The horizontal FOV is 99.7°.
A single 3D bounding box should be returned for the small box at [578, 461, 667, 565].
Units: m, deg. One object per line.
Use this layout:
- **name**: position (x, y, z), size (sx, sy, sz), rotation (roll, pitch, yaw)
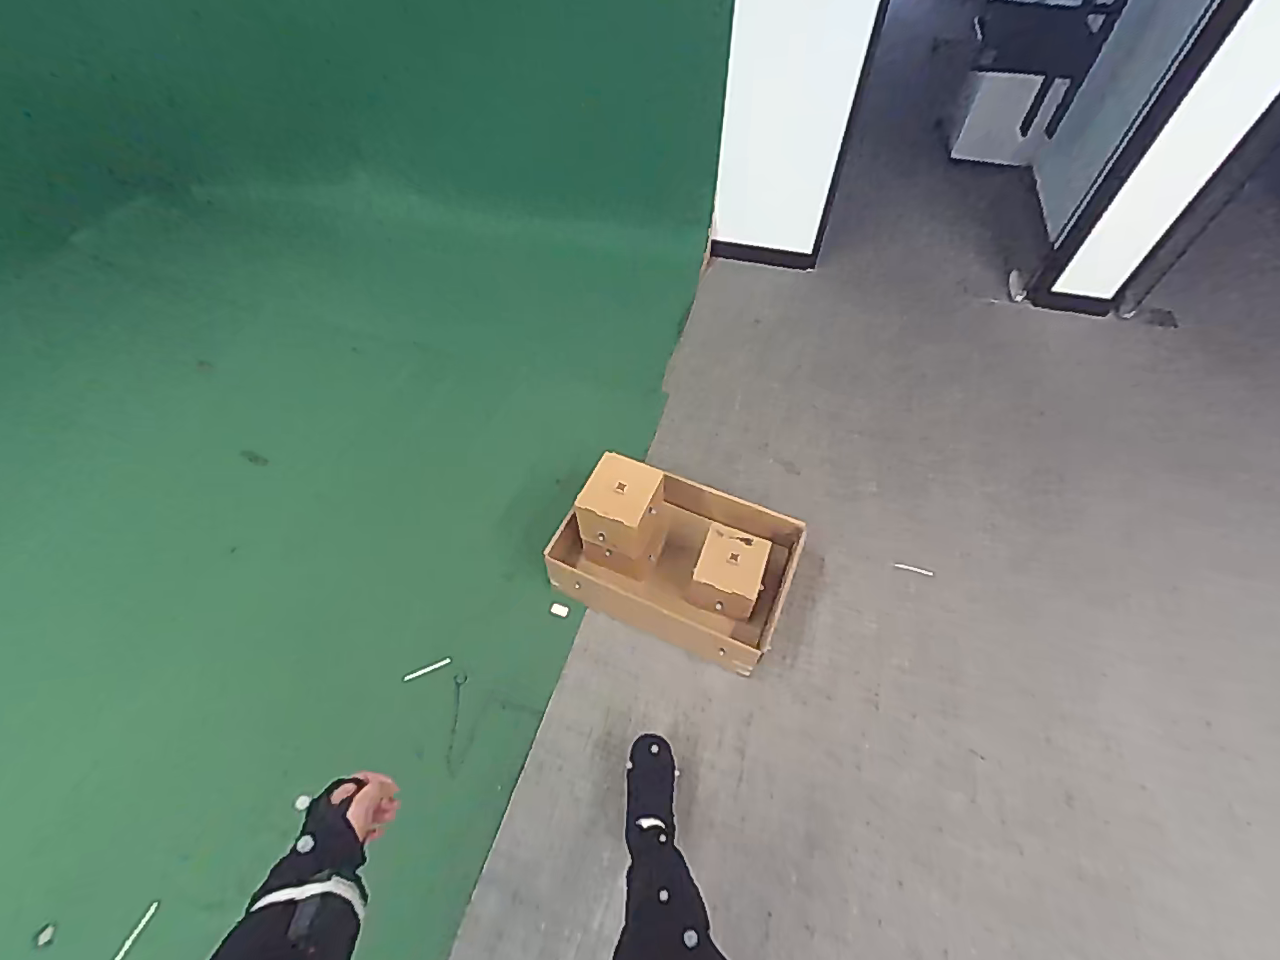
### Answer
- **small box**: position (-0.043, 0.087, 1.384), size (0.168, 0.176, 0.179), rotation (21, 58, 14)
